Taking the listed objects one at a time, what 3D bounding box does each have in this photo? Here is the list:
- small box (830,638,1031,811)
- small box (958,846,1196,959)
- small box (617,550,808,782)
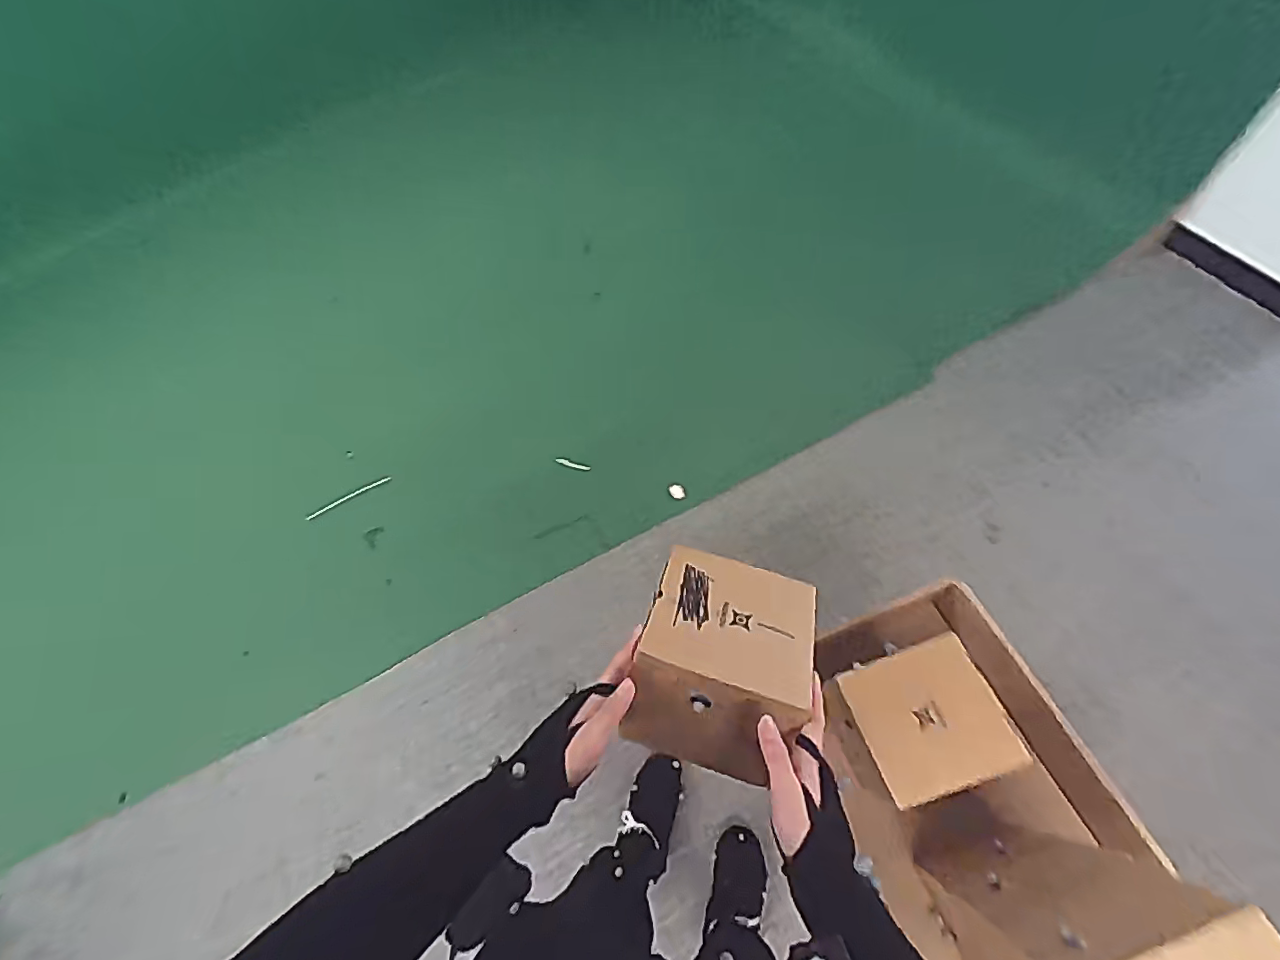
[{"bbox_3d":[0.384,0.343,0.759,0.179,0.176,0.168,-20,62,0],"label":"small box"},{"bbox_3d":[0.505,0.558,0.627,0.179,0.176,0.168,-23,63,-1],"label":"small box"},{"bbox_3d":[0.081,0.214,0.626,0.179,0.176,0.168,16,38,7],"label":"small box"}]
